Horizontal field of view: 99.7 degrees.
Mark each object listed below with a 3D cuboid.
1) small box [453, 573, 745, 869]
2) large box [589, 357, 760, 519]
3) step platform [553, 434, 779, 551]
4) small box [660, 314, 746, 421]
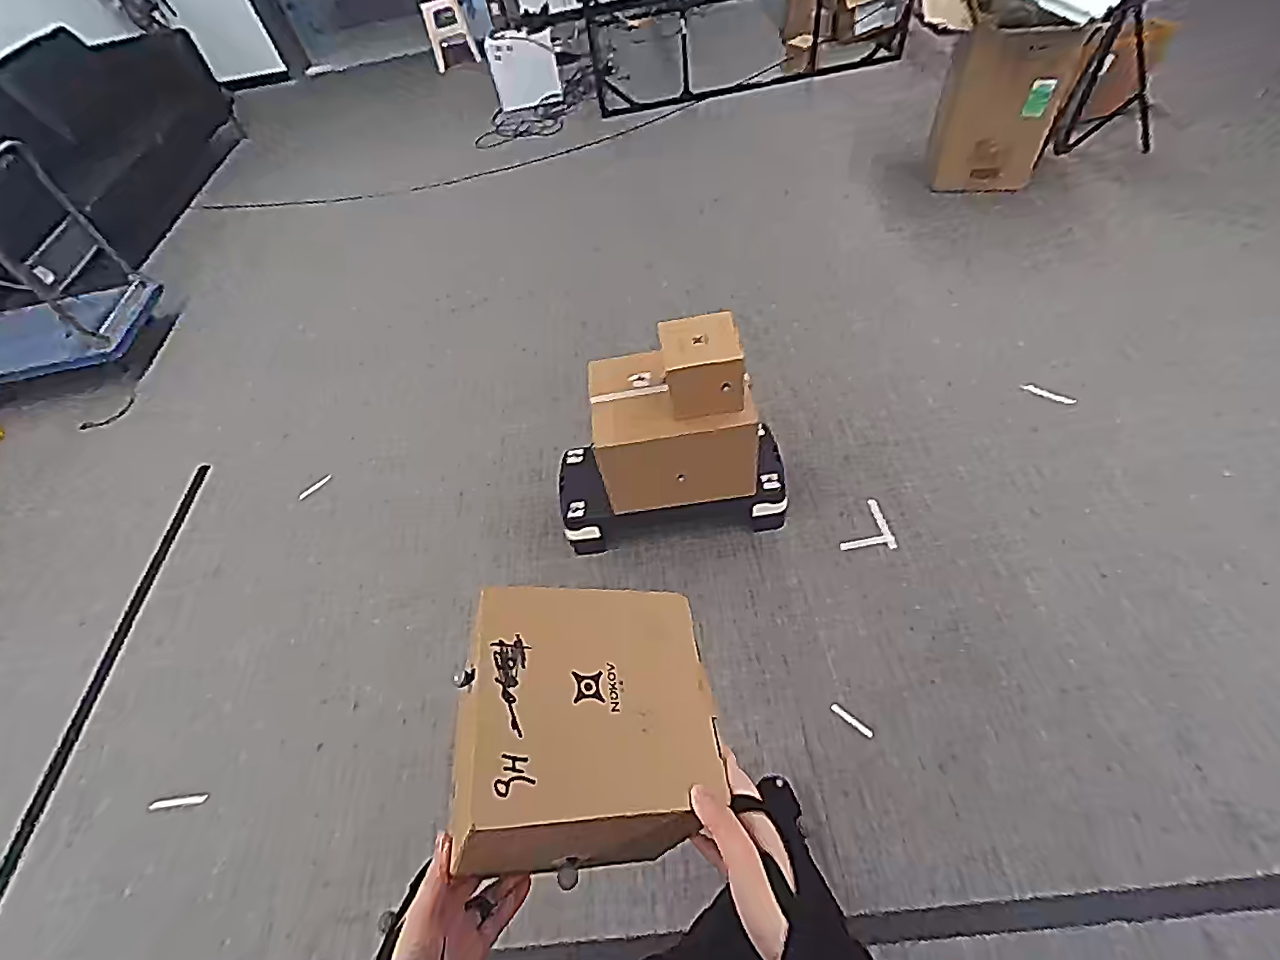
[{"bbox_3d":[-0.044,0.199,0.440,0.179,0.176,0.168,9,43,-18],"label":"small box"},{"bbox_3d":[0.095,-0.125,1.489,0.408,0.320,0.320,-10,52,4],"label":"large box"},{"bbox_3d":[0.077,0.037,1.671,0.684,0.204,0.286,-5,53,7],"label":"step platform"},{"bbox_3d":[0.146,-0.260,1.271,0.179,0.176,0.168,-9,54,4],"label":"small box"}]
